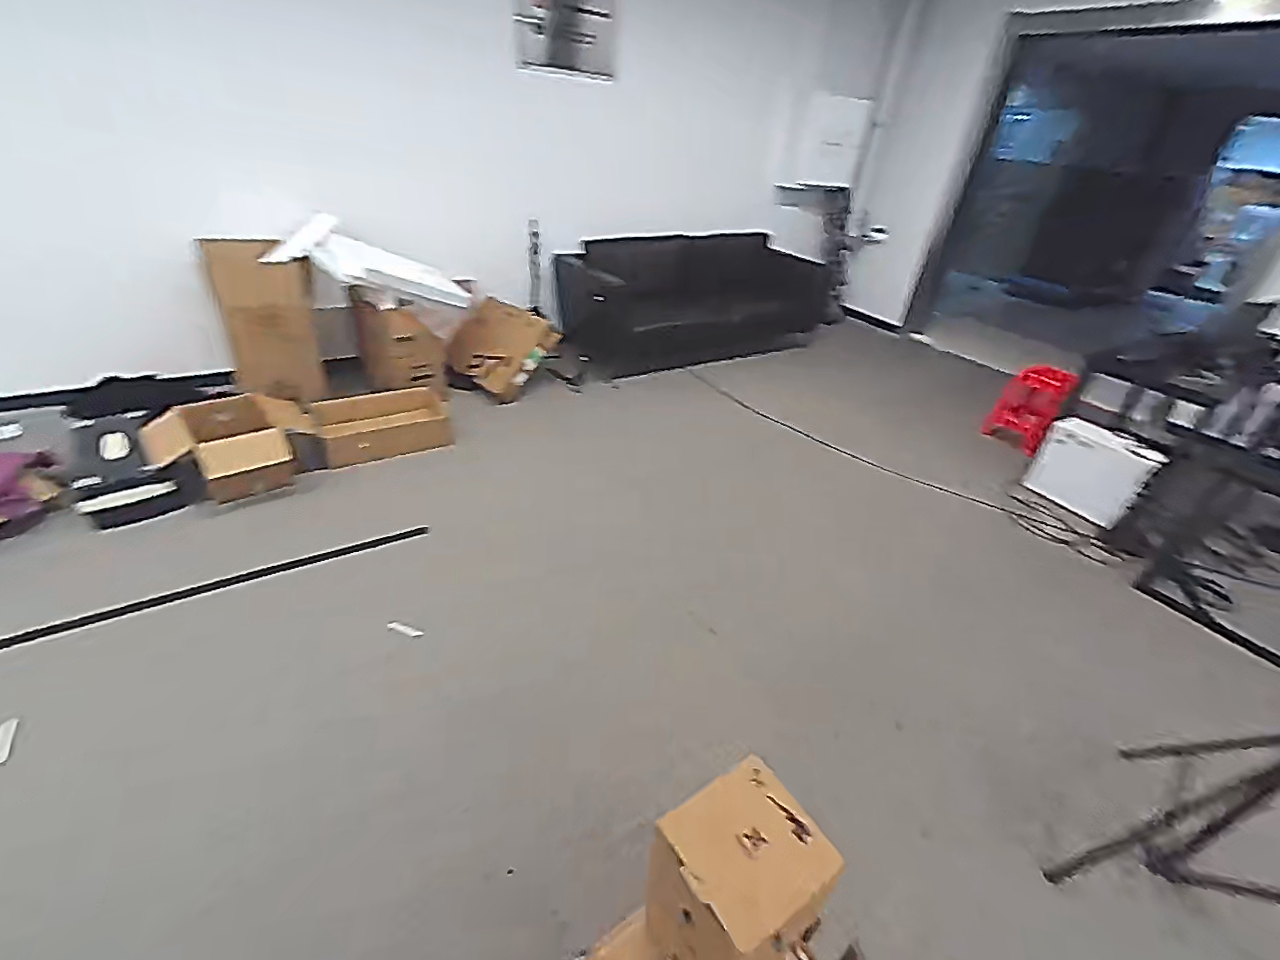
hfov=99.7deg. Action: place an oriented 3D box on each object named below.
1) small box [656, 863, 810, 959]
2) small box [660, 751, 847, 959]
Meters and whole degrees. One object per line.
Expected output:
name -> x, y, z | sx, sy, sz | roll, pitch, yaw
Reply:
small box -> 0.138, 0.649, 0.819 | 0.179, 0.176, 0.168 | -19, 38, -29
small box -> 0.140, 0.516, 0.722 | 0.179, 0.176, 0.168 | -18, 38, -28
